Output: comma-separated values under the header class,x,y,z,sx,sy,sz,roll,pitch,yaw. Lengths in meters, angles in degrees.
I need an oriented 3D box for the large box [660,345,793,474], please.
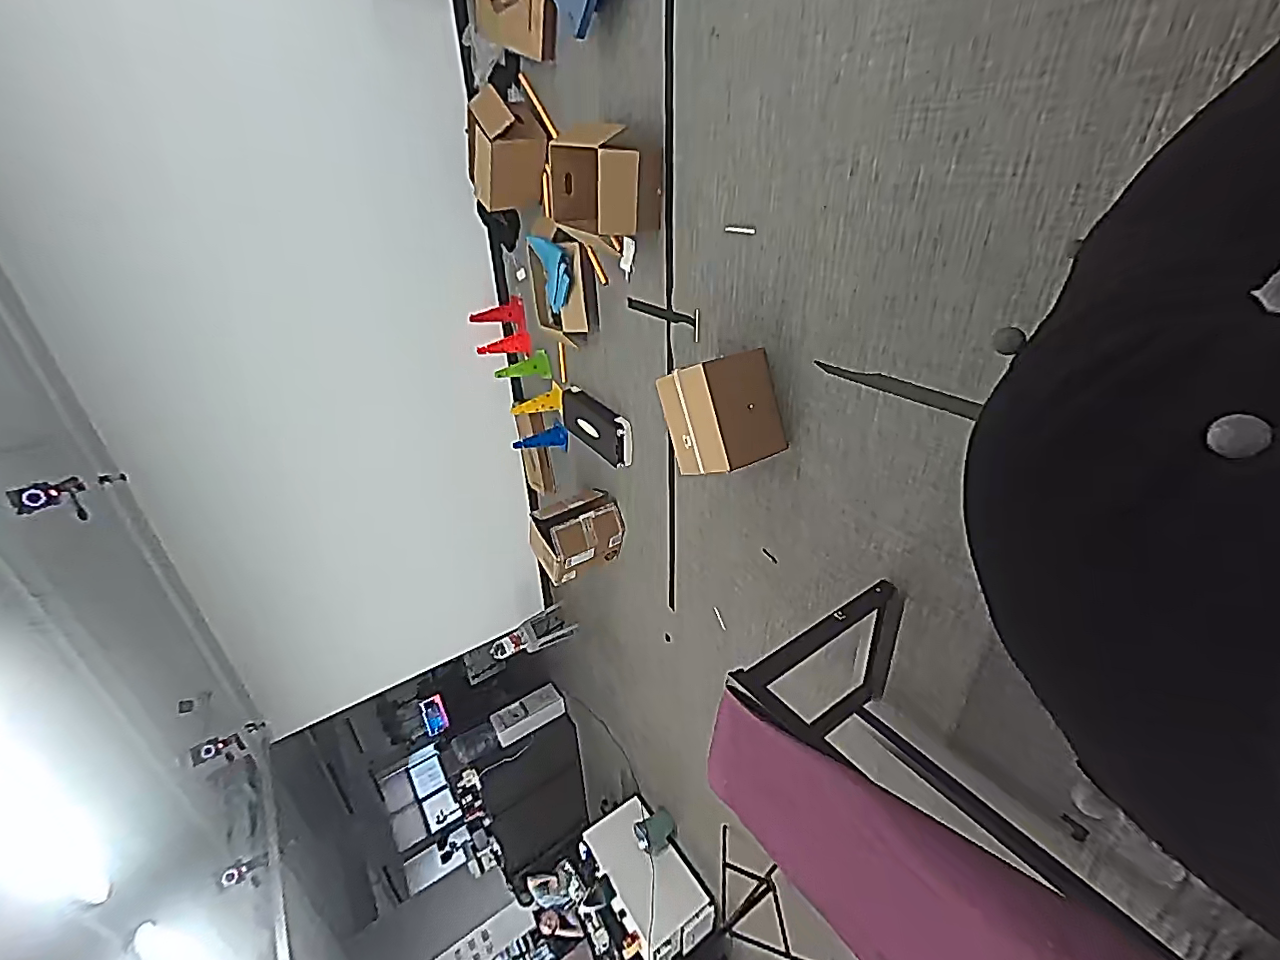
class,x,y,z,sx,sy,sz,roll,pitch,yaw
large box,0.335,-0.267,2.099,0.320,0.320,0.408,-4,105,61
